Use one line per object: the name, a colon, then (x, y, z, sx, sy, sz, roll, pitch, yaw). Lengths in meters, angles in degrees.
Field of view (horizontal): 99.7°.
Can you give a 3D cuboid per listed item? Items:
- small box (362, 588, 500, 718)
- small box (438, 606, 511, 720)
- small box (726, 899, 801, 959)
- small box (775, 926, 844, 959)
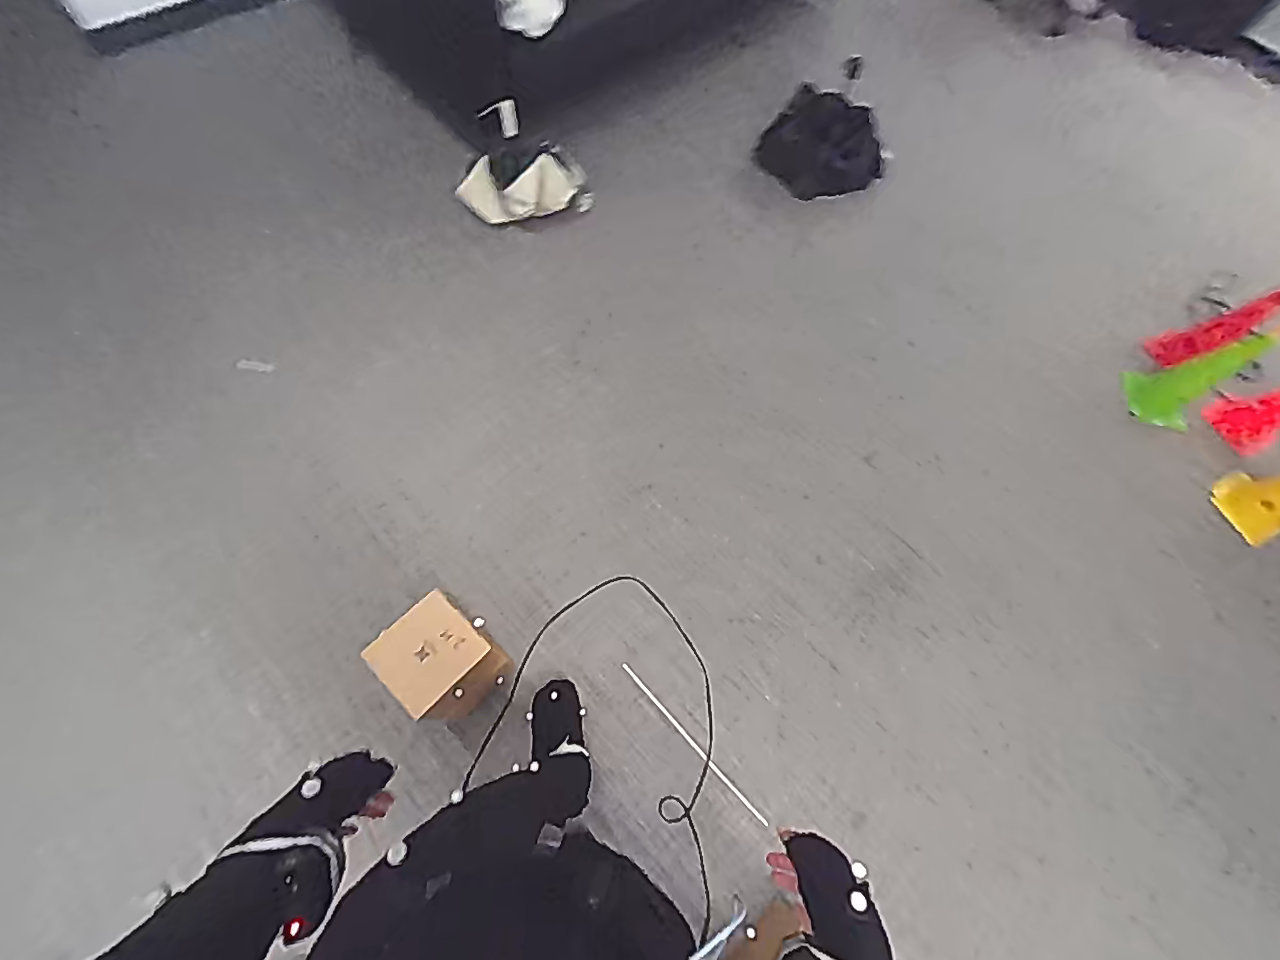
small box: (-0.402, 0.347, 1.076, 0.168, 0.176, 0.179, 43, 70, 11)
small box: (-0.409, 0.415, 1.226, 0.168, 0.176, 0.179, 43, 70, 12)
small box: (0.286, 0.991, 1.067, 0.179, 0.176, 0.168, -38, 77, -18)
small box: (0.312, 0.926, 0.918, 0.179, 0.176, 0.168, -37, 76, -20)
